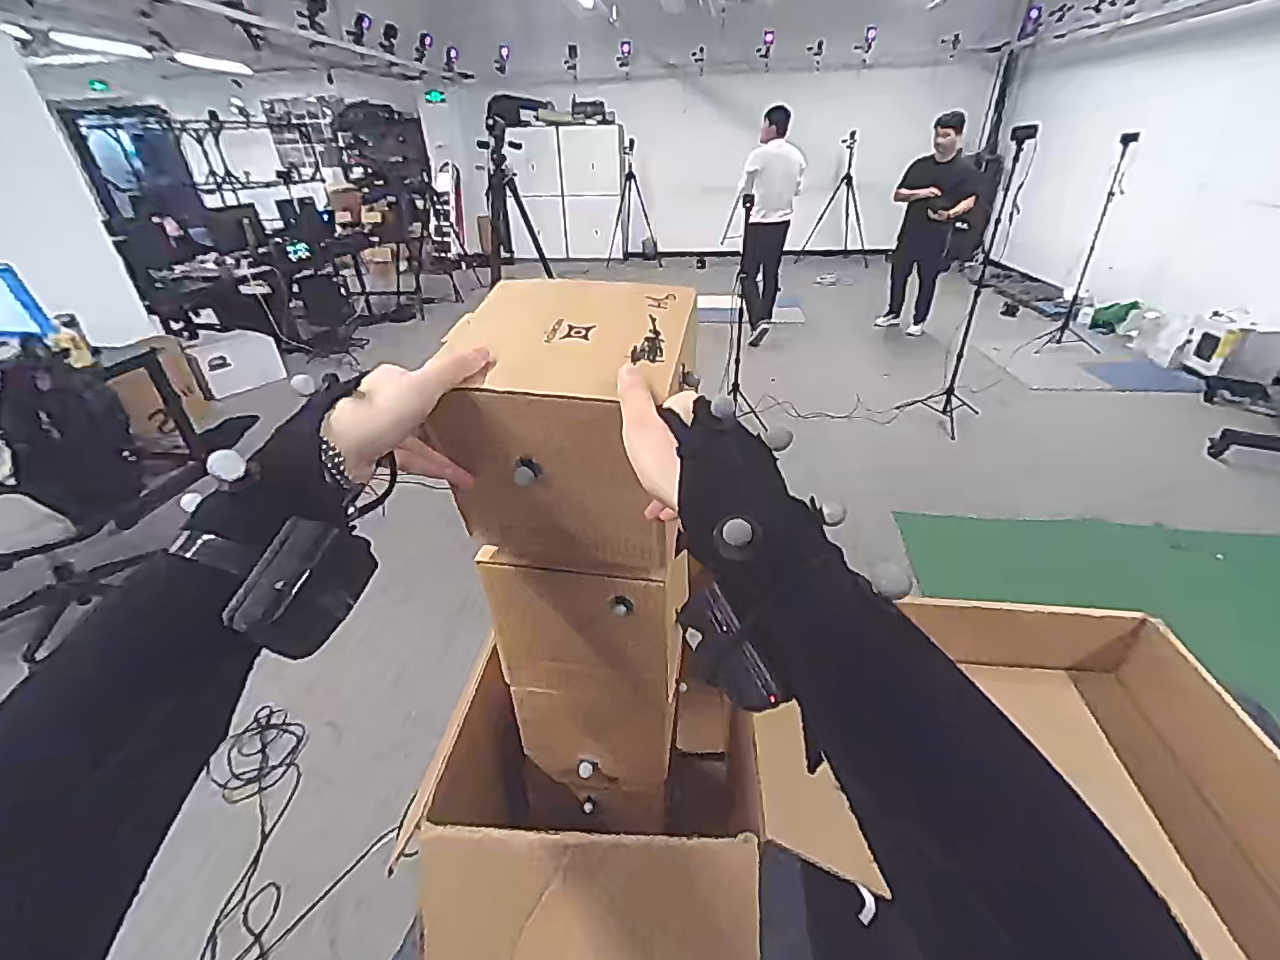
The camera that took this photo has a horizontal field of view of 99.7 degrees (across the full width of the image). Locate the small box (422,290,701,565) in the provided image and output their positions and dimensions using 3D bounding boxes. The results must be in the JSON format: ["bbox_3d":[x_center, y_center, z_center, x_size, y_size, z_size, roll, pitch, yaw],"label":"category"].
[{"bbox_3d":[-0.045,-0.045,0.462,0.179,0.176,0.168,6,45,10],"label":"small box"}]

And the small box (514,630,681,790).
[{"bbox_3d":[-0.040,0.243,0.668,0.168,0.176,0.179,4,34,9],"label":"small box"}]

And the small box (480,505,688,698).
[{"bbox_3d":[-0.045,0.107,0.579,0.179,0.176,0.168,5,33,9],"label":"small box"}]
